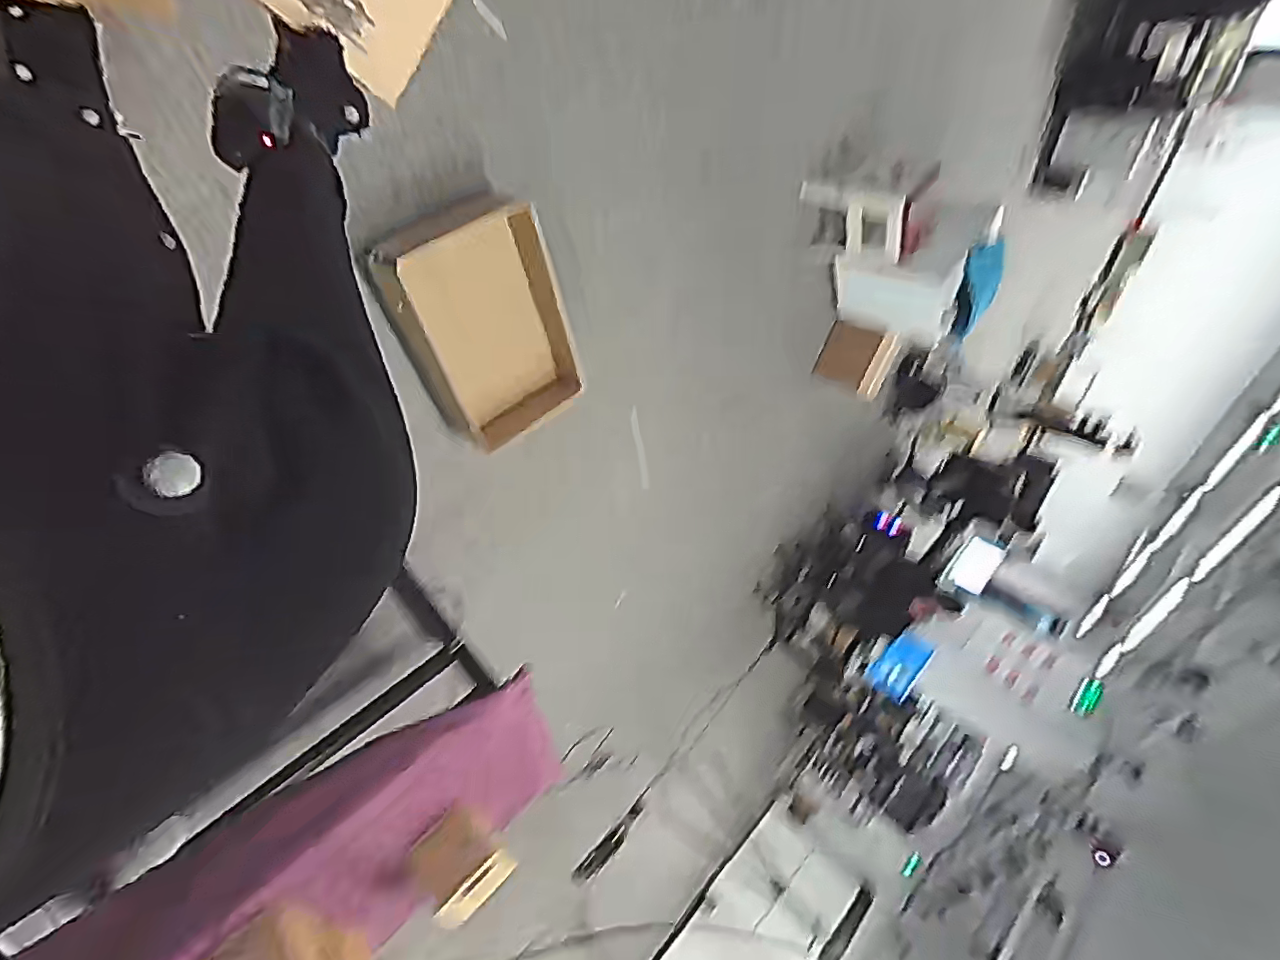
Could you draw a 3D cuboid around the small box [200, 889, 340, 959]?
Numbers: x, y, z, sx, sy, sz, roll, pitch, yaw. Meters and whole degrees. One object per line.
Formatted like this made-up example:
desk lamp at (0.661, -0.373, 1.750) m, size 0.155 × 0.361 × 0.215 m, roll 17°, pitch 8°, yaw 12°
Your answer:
small box at (-0.719, 0.961, 1.067) m, size 0.168 × 0.176 × 0.179 m, roll -33°, pitch 139°, yaw -30°
